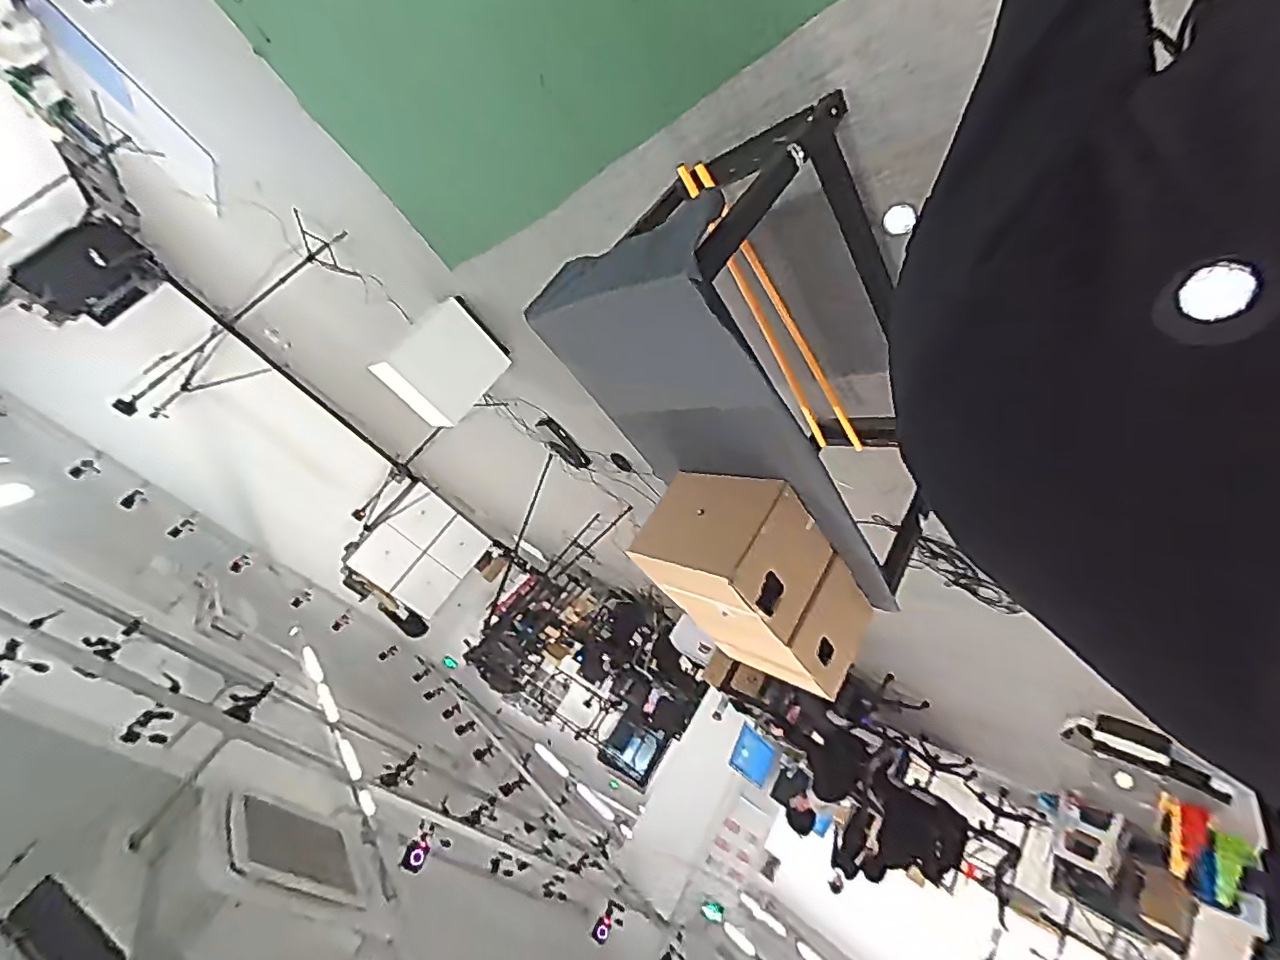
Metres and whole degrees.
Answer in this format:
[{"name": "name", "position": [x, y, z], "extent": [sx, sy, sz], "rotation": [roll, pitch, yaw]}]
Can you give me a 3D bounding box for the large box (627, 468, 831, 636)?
[{"name": "large box", "position": [0.247, 0.182, 1.521], "extent": [0.408, 0.320, 0.320], "rotation": [4, 143, 51]}]
